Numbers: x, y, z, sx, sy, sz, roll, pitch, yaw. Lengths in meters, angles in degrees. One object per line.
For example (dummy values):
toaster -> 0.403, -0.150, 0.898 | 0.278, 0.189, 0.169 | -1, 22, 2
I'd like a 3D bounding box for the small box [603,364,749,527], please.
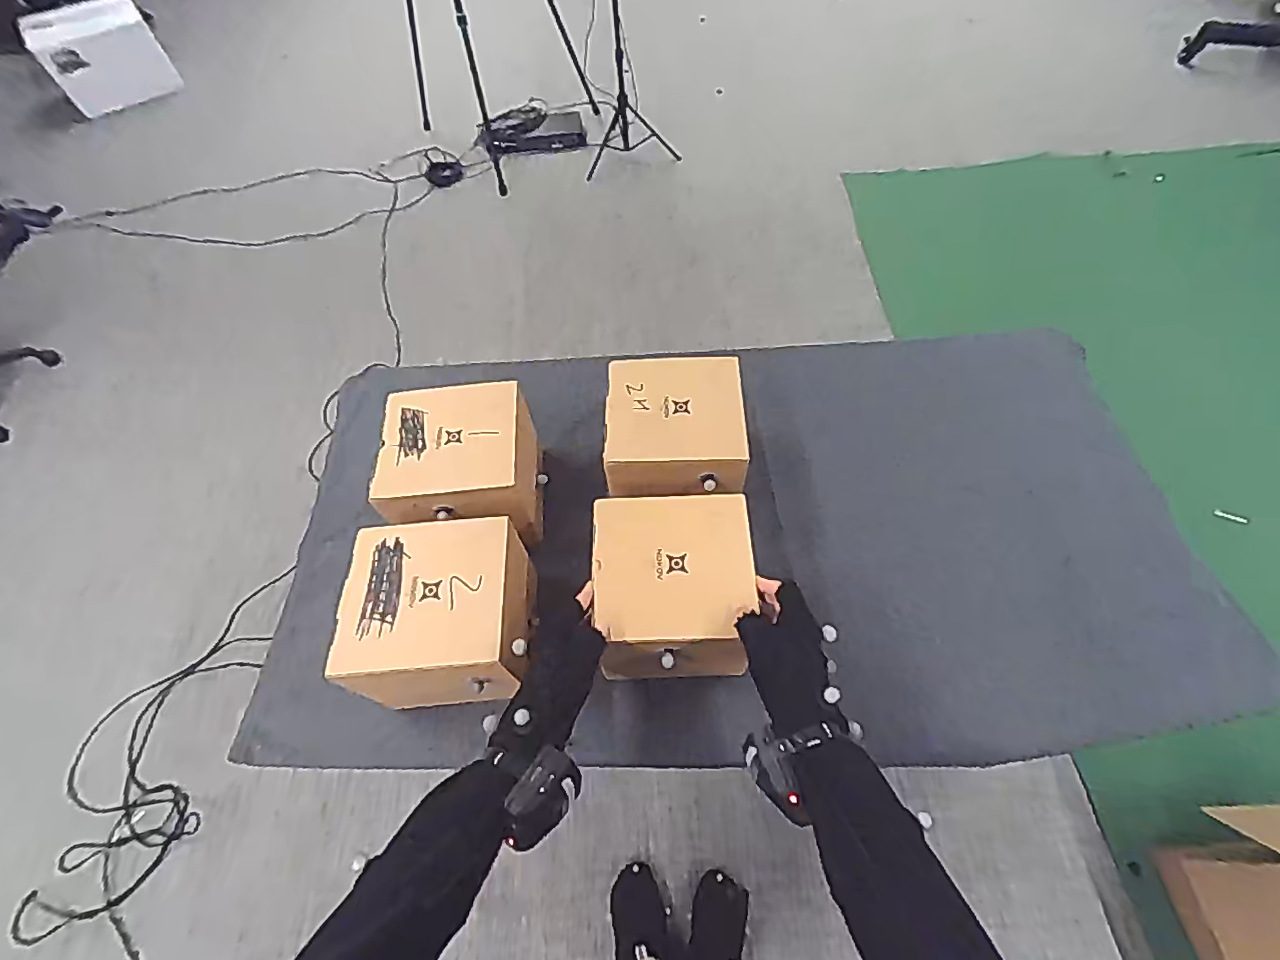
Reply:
small box -> 0.048, -0.043, 0.751 | 0.179, 0.176, 0.168 | -1, 59, 3
